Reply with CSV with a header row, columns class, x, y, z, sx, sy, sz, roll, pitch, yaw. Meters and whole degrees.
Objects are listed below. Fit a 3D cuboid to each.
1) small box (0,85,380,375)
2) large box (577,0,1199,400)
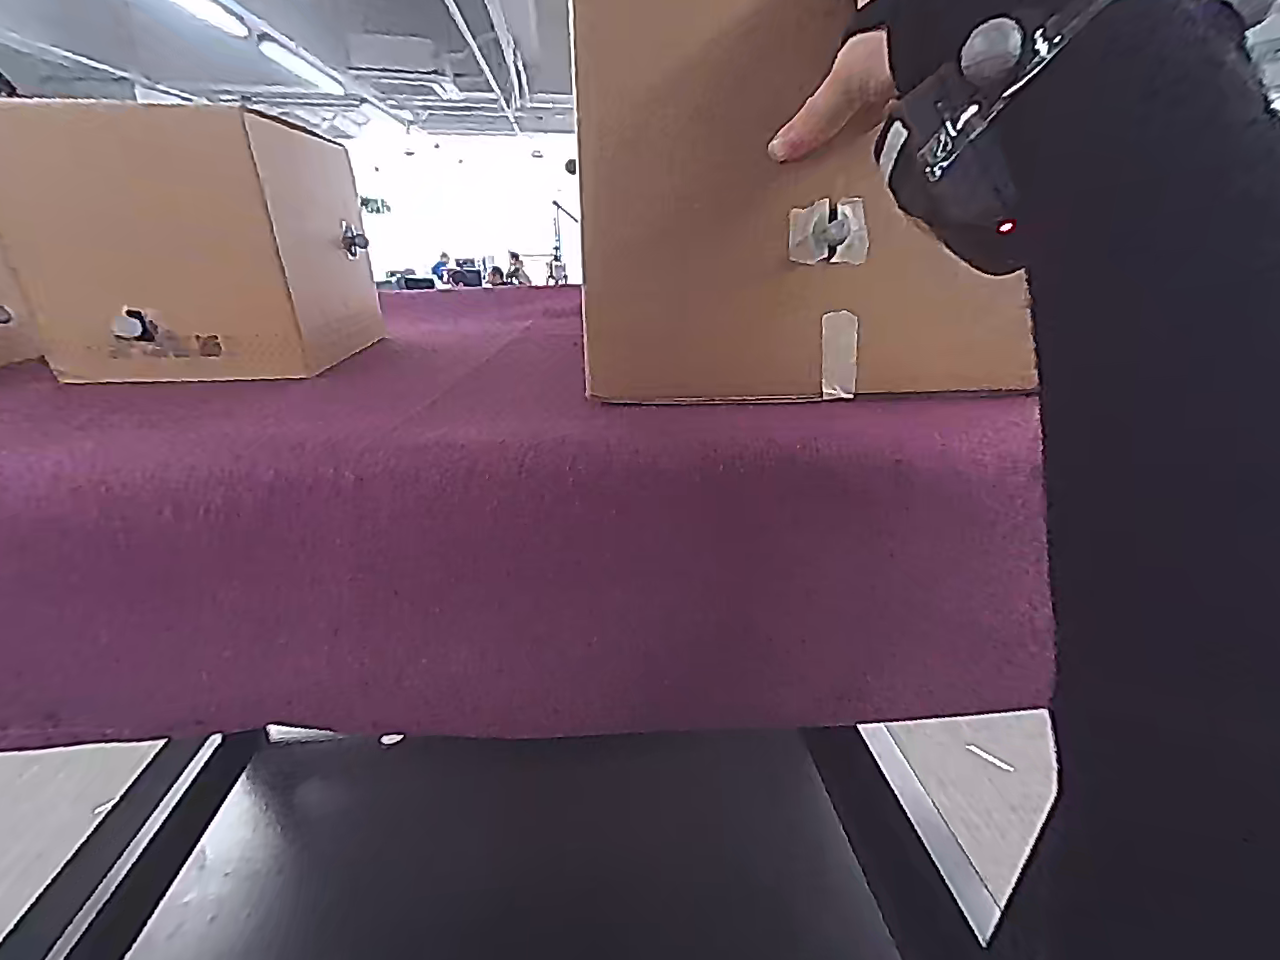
class,x,y,z,sx,sy,sz,roll,pitch,yaw
small box,-0.321,-0.183,0.420,0.168,0.176,0.179,-3,25,-5
large box,0.111,-0.268,0.448,0.320,0.320,0.408,-1,24,-4
